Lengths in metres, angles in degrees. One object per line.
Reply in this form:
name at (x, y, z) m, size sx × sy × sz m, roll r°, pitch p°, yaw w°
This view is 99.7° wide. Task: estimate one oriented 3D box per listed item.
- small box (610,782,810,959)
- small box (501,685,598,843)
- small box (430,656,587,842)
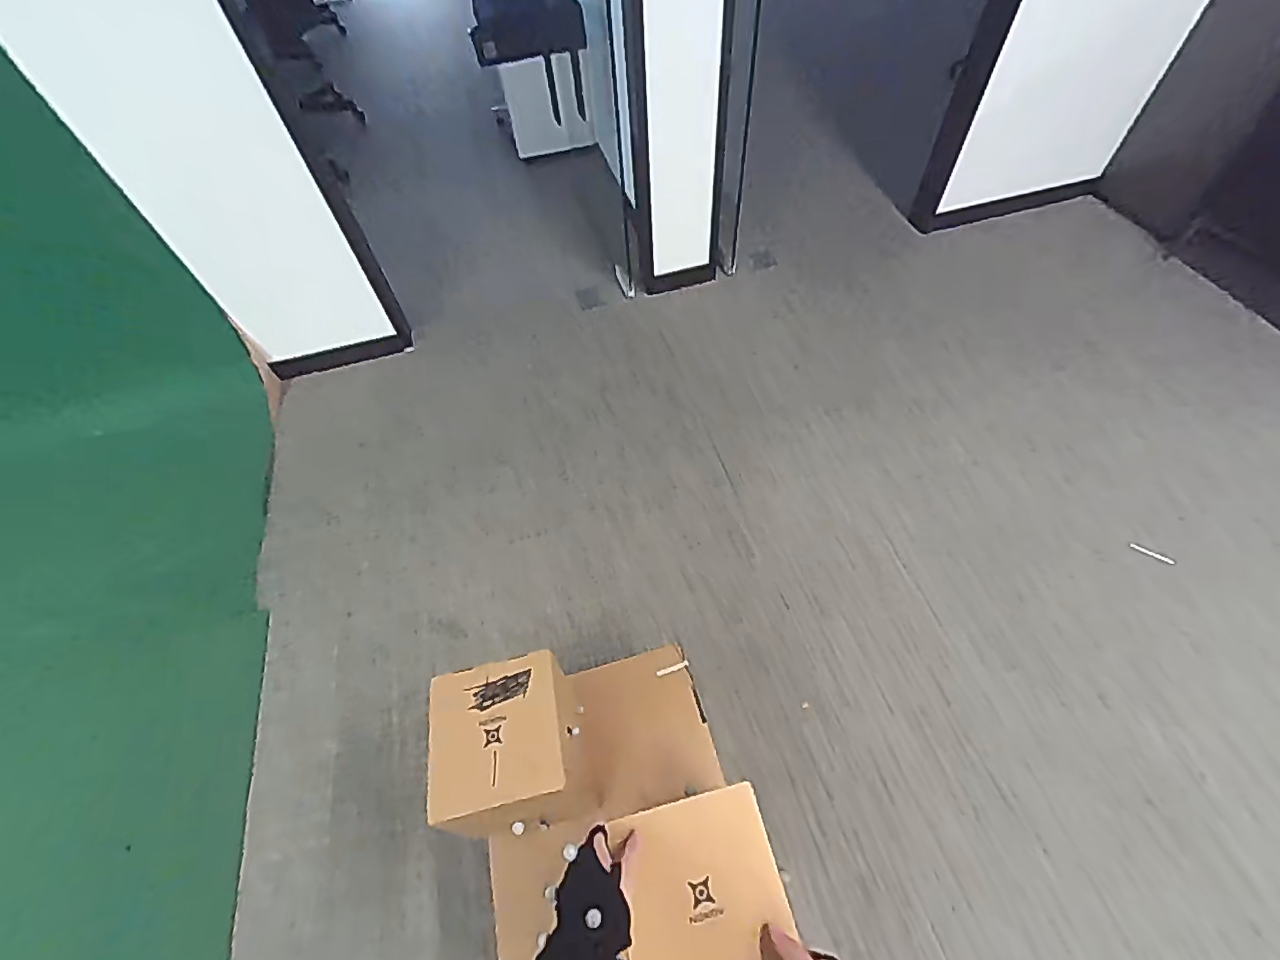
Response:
small box at (0.065, 0.461, 0.601) m, size 0.168 × 0.176 × 0.179 m, roll -13°, pitch 58°, yaw -8°
small box at (-0.173, 0.464, 0.883) m, size 0.168 × 0.176 × 0.179 m, roll -15°, pitch 52°, yaw -5°
small box at (-0.175, 0.372, 0.745) m, size 0.168 × 0.176 × 0.179 m, roll -13°, pitch 52°, yaw -4°
